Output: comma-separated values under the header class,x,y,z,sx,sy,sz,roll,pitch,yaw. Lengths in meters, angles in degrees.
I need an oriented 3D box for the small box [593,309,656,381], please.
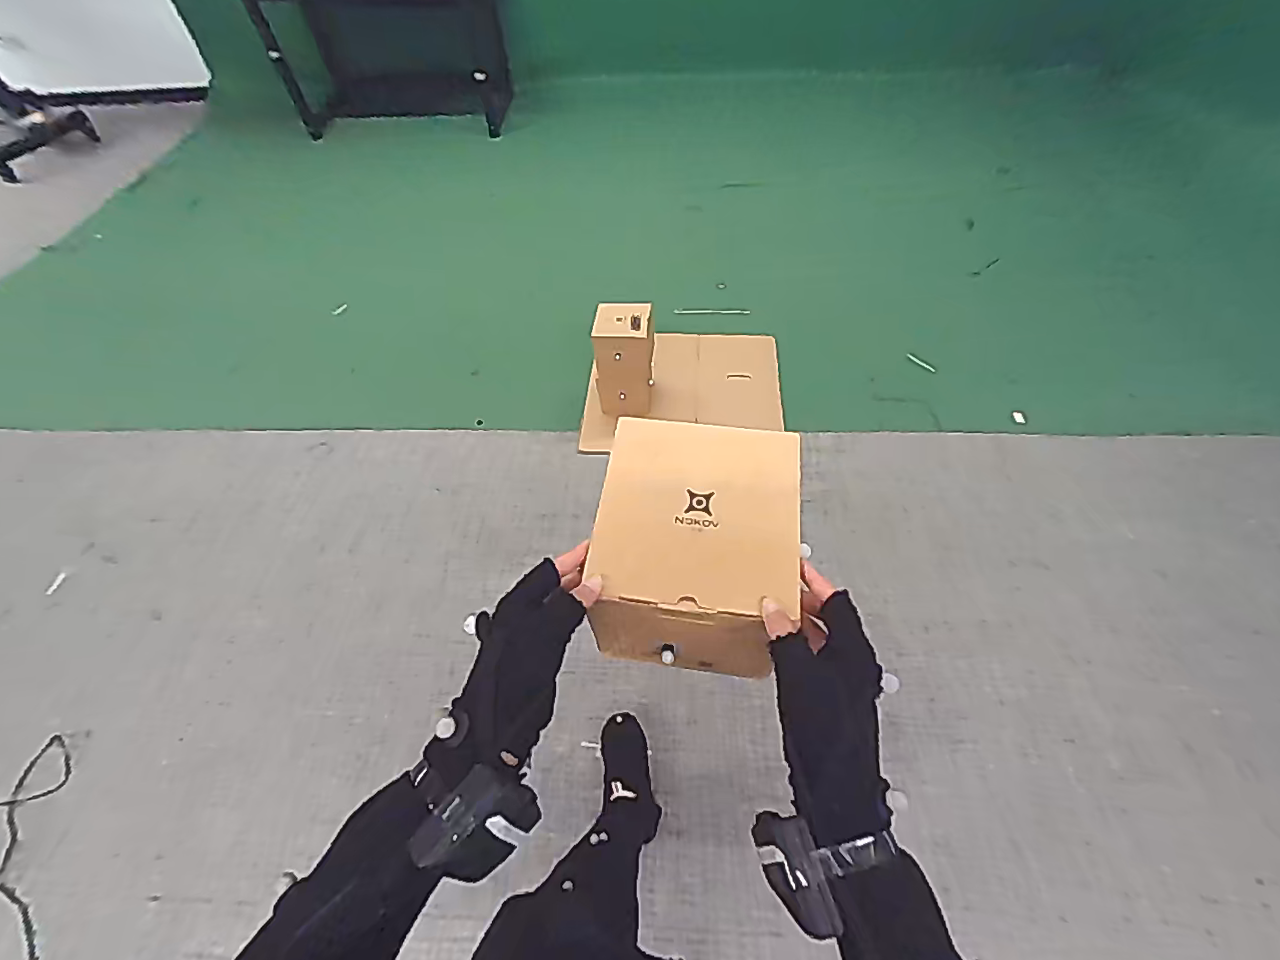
class,x,y,z,sx,sy,sz,roll,pitch,yaw
small box,-0.044,-0.437,1.763,0.179,0.176,0.168,3,54,8
